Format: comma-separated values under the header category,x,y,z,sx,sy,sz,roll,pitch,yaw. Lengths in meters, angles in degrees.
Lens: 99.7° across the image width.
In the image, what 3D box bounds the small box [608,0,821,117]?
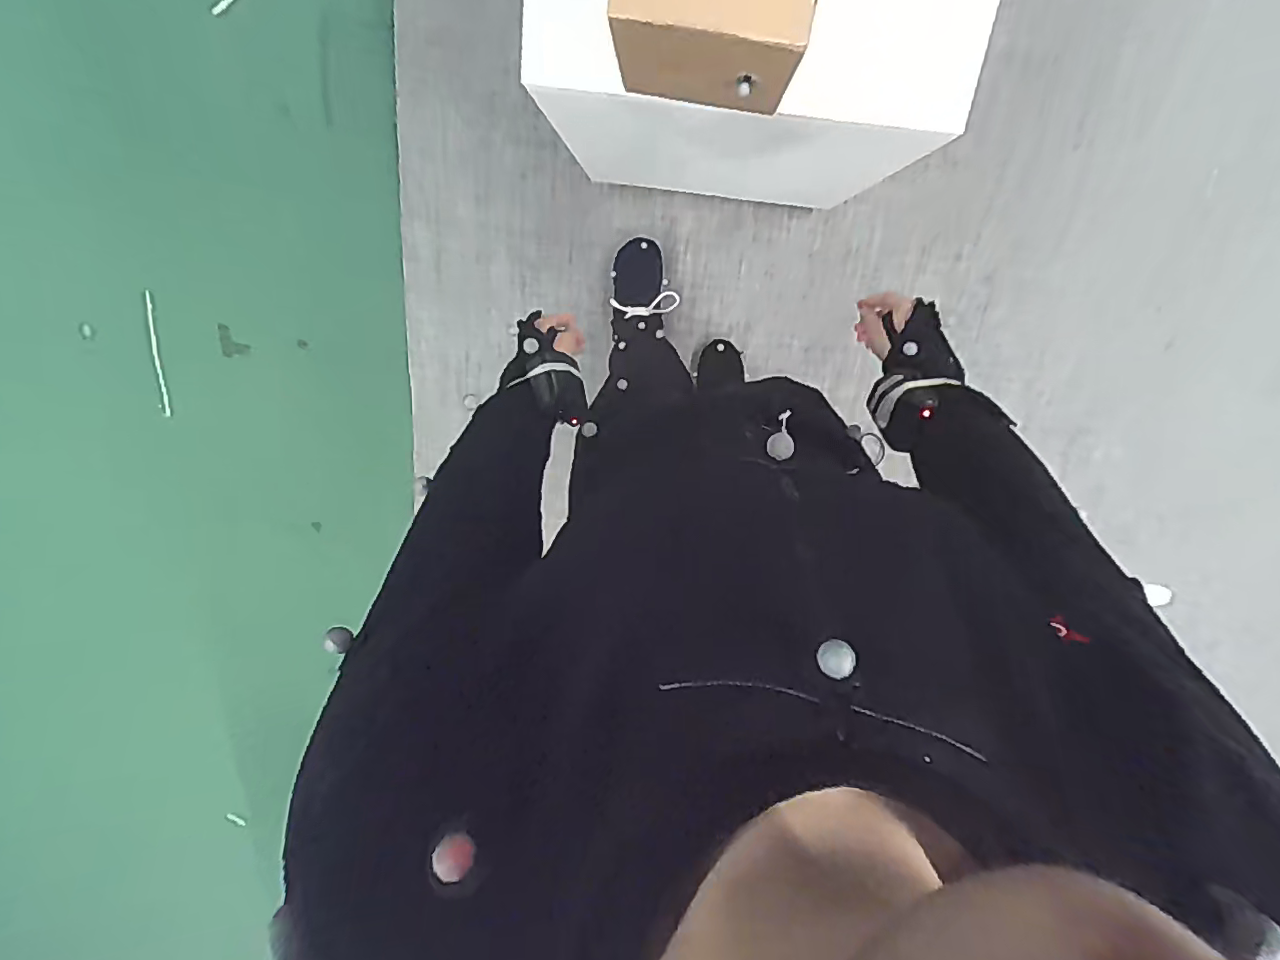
category,x,y,z,sx,sy,sz,roll,pitch,yaw
small box,0.075,-0.472,0.512,0.179,0.176,0.168,9,106,2
